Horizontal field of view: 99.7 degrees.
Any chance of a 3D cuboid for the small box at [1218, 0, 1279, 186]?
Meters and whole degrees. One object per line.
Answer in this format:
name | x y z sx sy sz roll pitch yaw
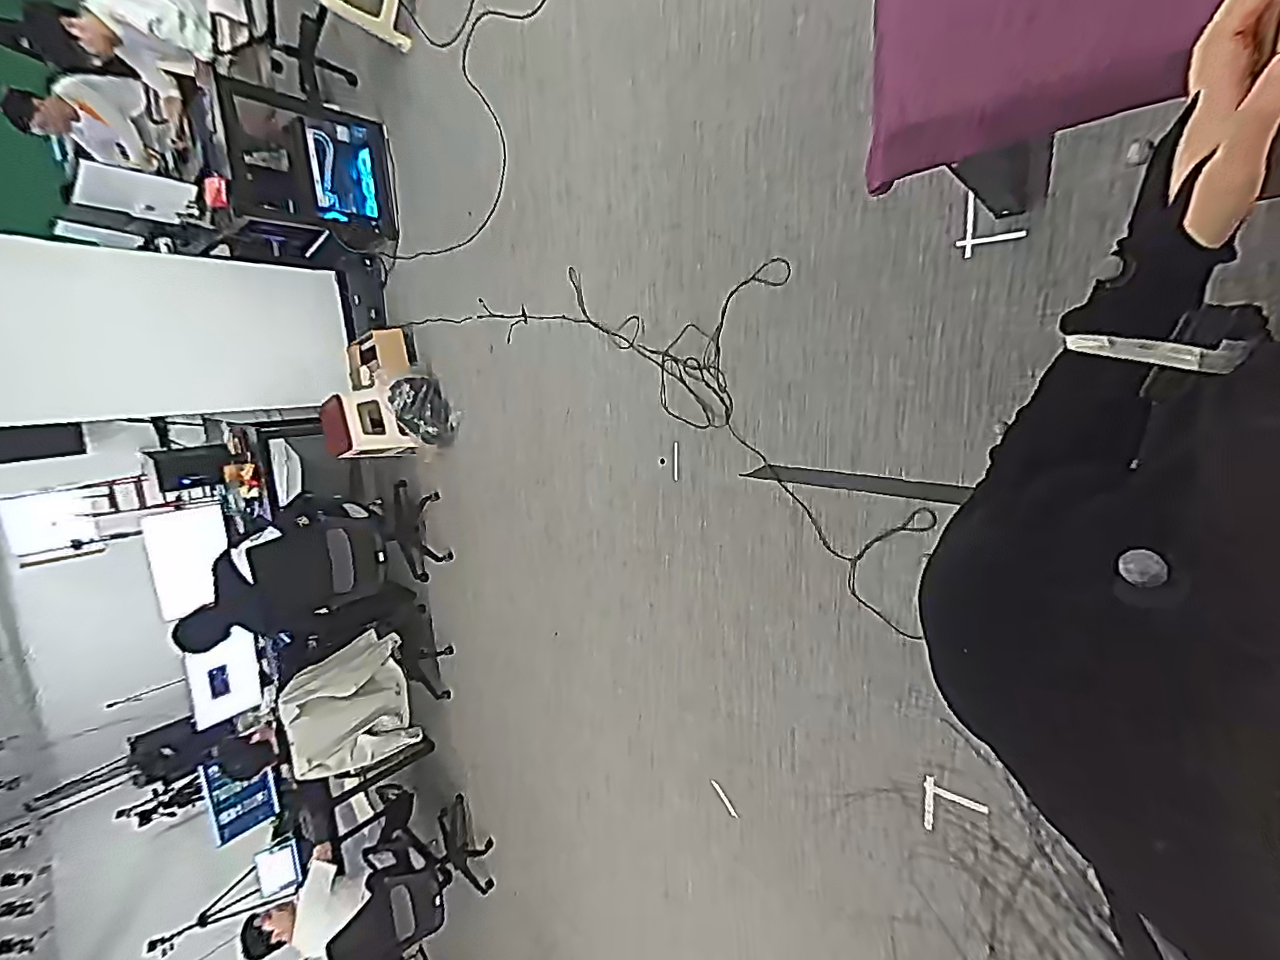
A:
small box | 0.428 -0.272 0.268 0.168 0.176 0.179 5 96 37
